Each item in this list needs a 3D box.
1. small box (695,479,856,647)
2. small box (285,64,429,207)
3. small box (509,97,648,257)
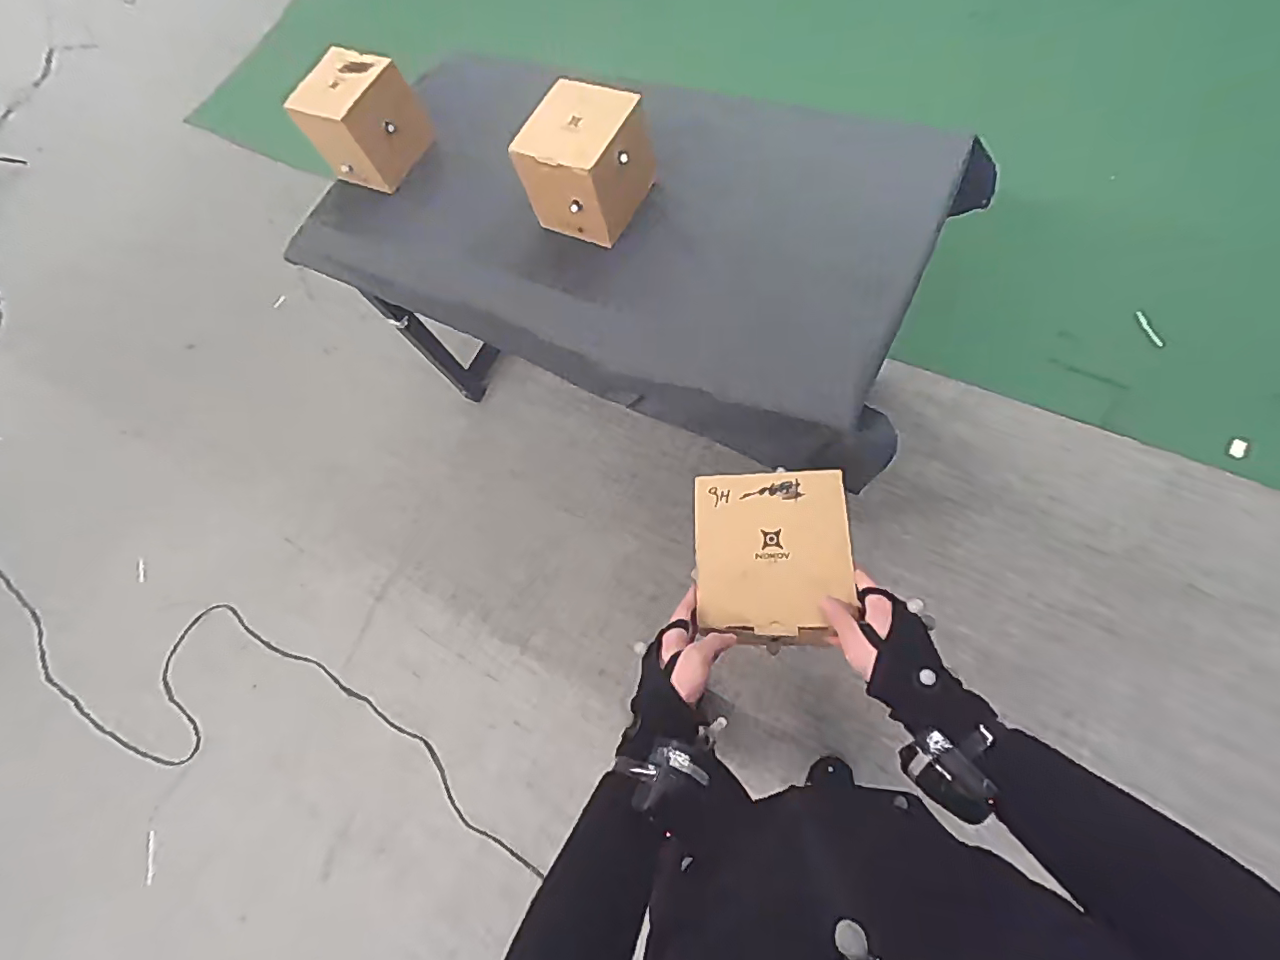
[{"bbox_3d":[0.159,0.111,0.666,0.168,0.176,0.179,-3,69,10],"label":"small box"},{"bbox_3d":[-0.575,-0.715,1.129,0.168,0.176,0.179,23,76,18],"label":"small box"},{"bbox_3d":[-0.098,-0.537,0.974,0.168,0.176,0.179,24,75,17],"label":"small box"}]
